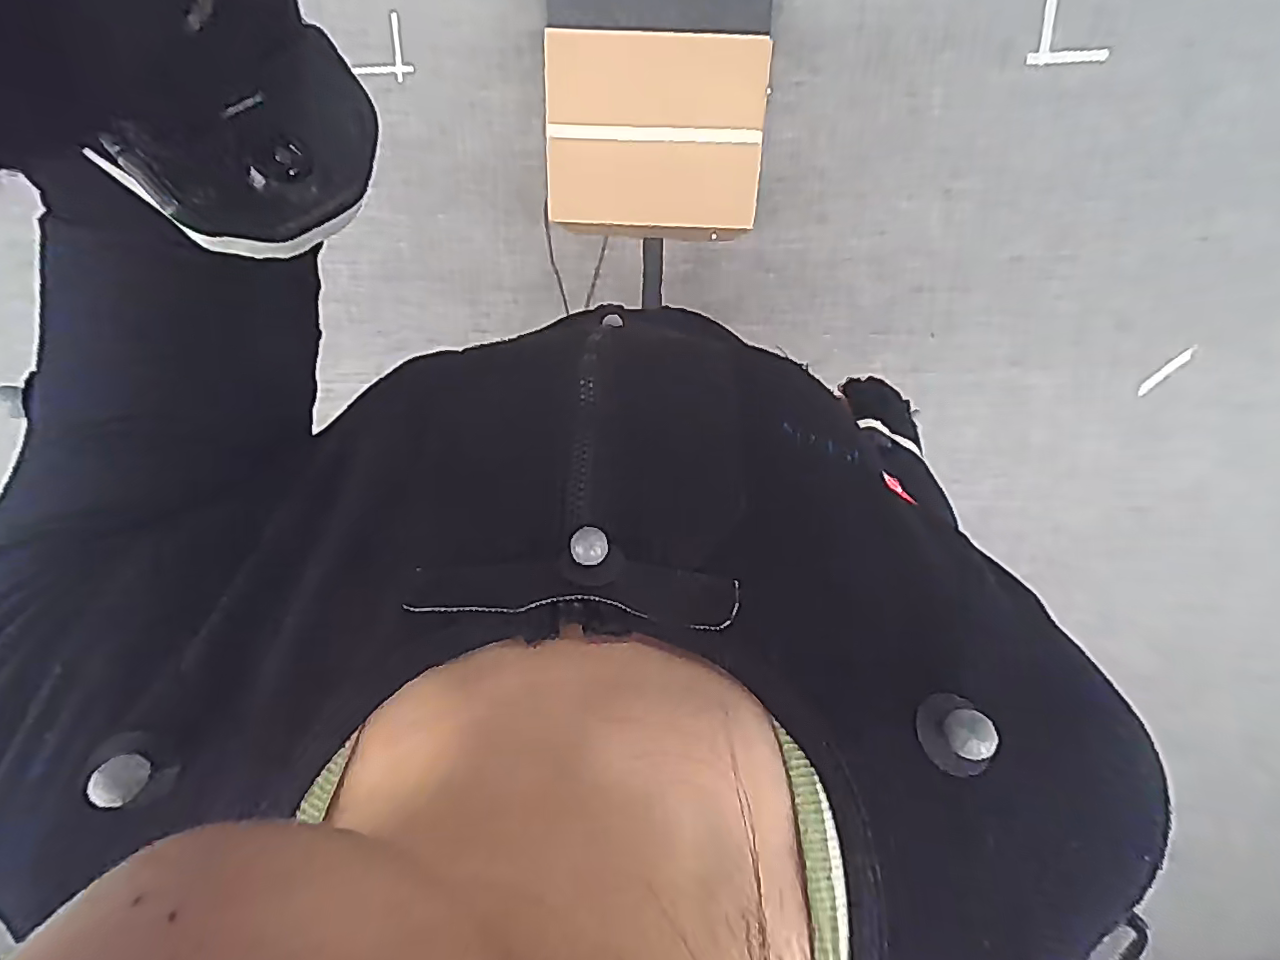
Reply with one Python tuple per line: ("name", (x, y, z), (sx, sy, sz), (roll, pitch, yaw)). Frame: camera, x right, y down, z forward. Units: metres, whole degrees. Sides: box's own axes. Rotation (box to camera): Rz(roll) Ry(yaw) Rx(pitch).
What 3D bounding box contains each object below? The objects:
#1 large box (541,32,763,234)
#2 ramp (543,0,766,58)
("large box", (0.023, -0.701, 1.150), (0.408, 0.320, 0.320), (2, 110, 0))
("ramp", (0.034, -1.268, 1.059), (0.509, 0.206, 0.991), (-1, 106, 0))
